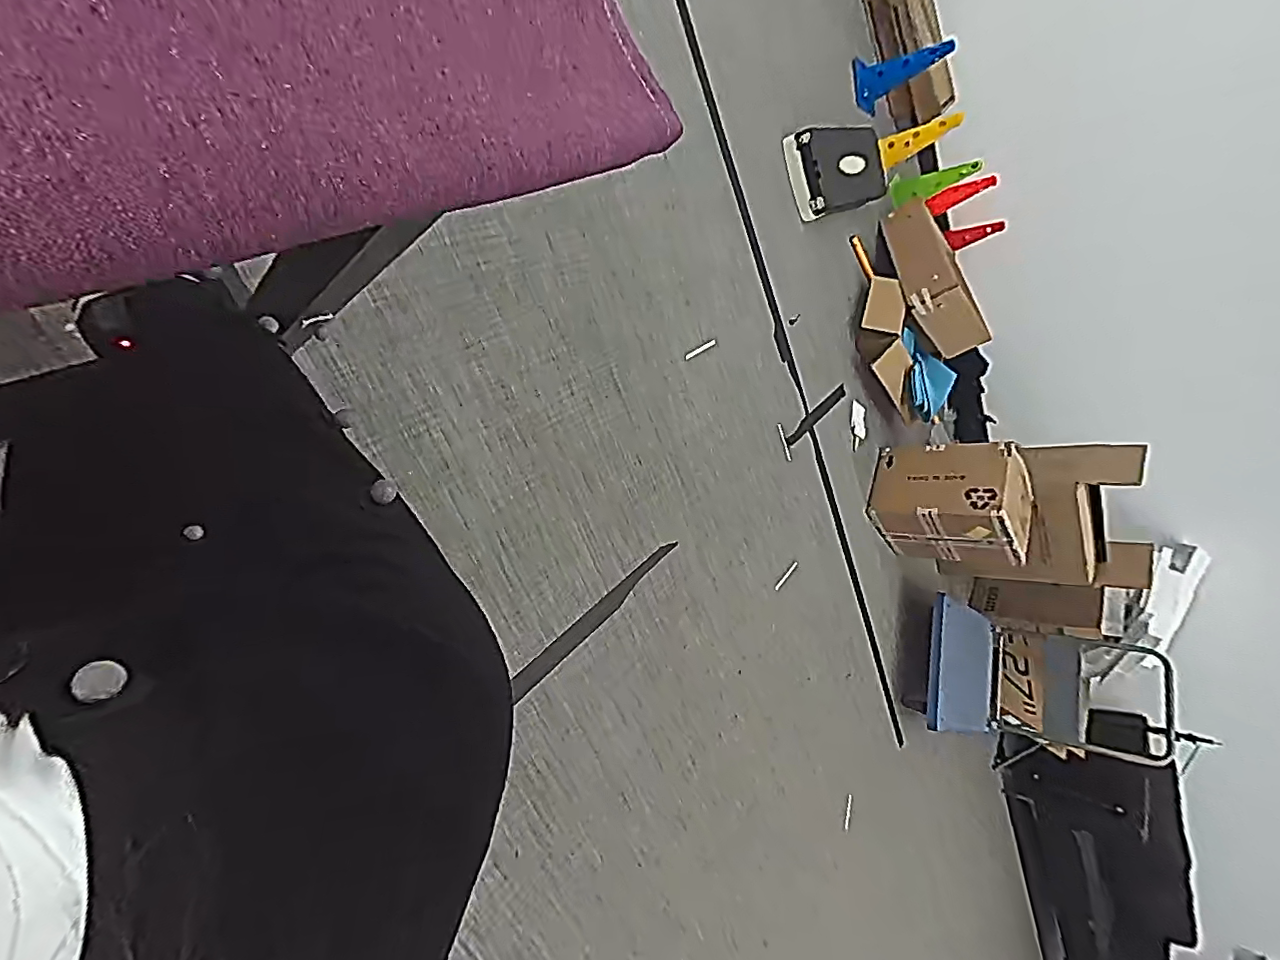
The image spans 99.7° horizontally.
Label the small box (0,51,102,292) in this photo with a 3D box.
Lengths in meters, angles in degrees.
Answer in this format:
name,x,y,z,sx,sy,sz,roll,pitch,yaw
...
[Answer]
name,x,y,z,sx,sy,sz,roll,pitch,yaw
small box,-0.609,-0.265,0.455,0.168,0.176,0.179,-35,114,-39
